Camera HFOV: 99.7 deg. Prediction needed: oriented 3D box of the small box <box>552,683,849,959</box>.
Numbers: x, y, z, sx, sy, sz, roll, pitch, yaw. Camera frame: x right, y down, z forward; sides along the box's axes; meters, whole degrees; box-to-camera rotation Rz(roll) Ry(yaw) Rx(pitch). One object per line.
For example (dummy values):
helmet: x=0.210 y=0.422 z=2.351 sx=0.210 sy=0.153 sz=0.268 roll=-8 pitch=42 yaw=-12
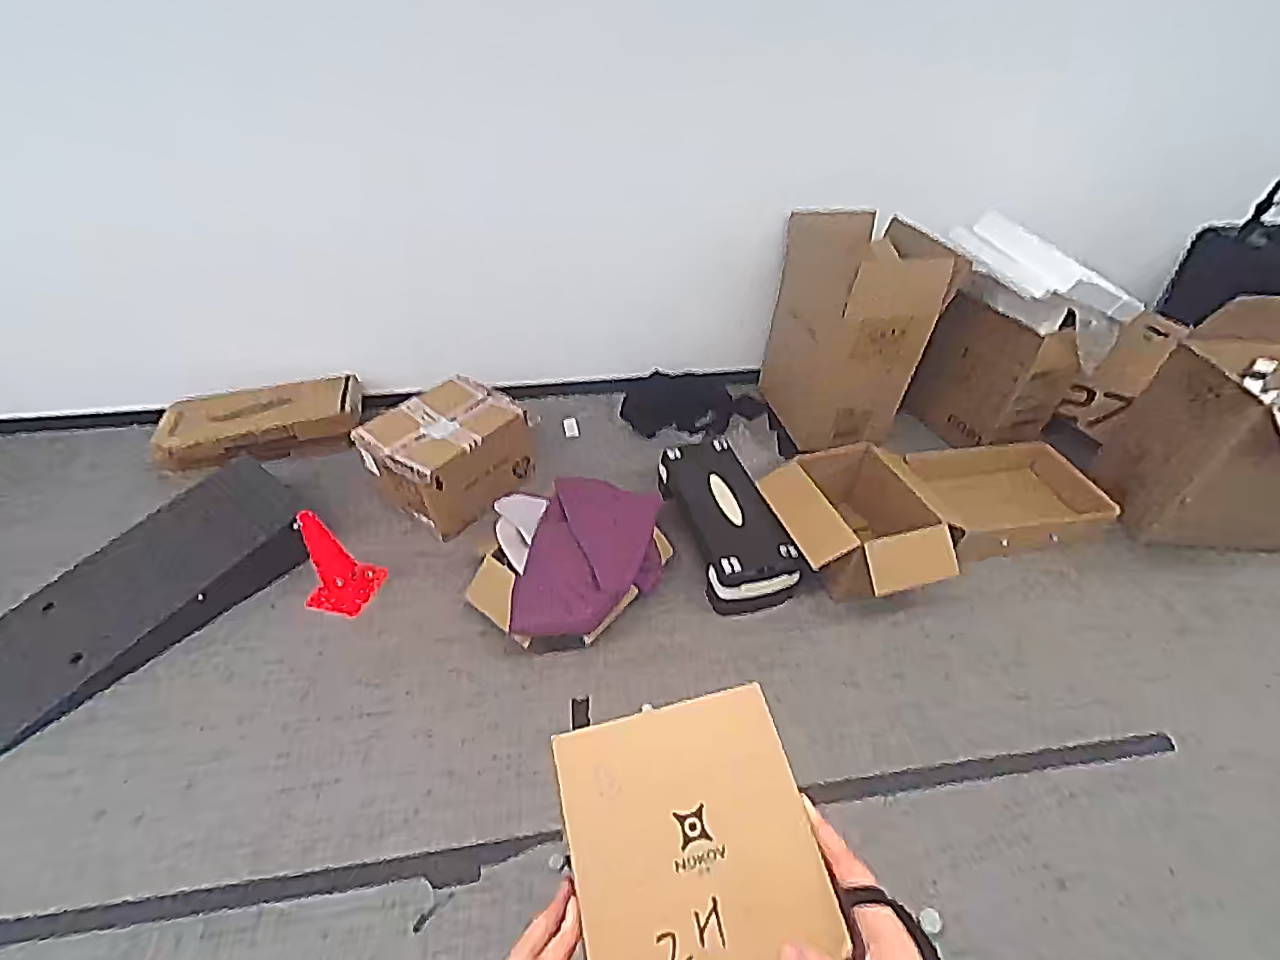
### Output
small box: x=0.023 y=0.284 z=0.427 sx=0.168 sy=0.176 sz=0.179 roll=-9 pitch=60 yaw=-14
